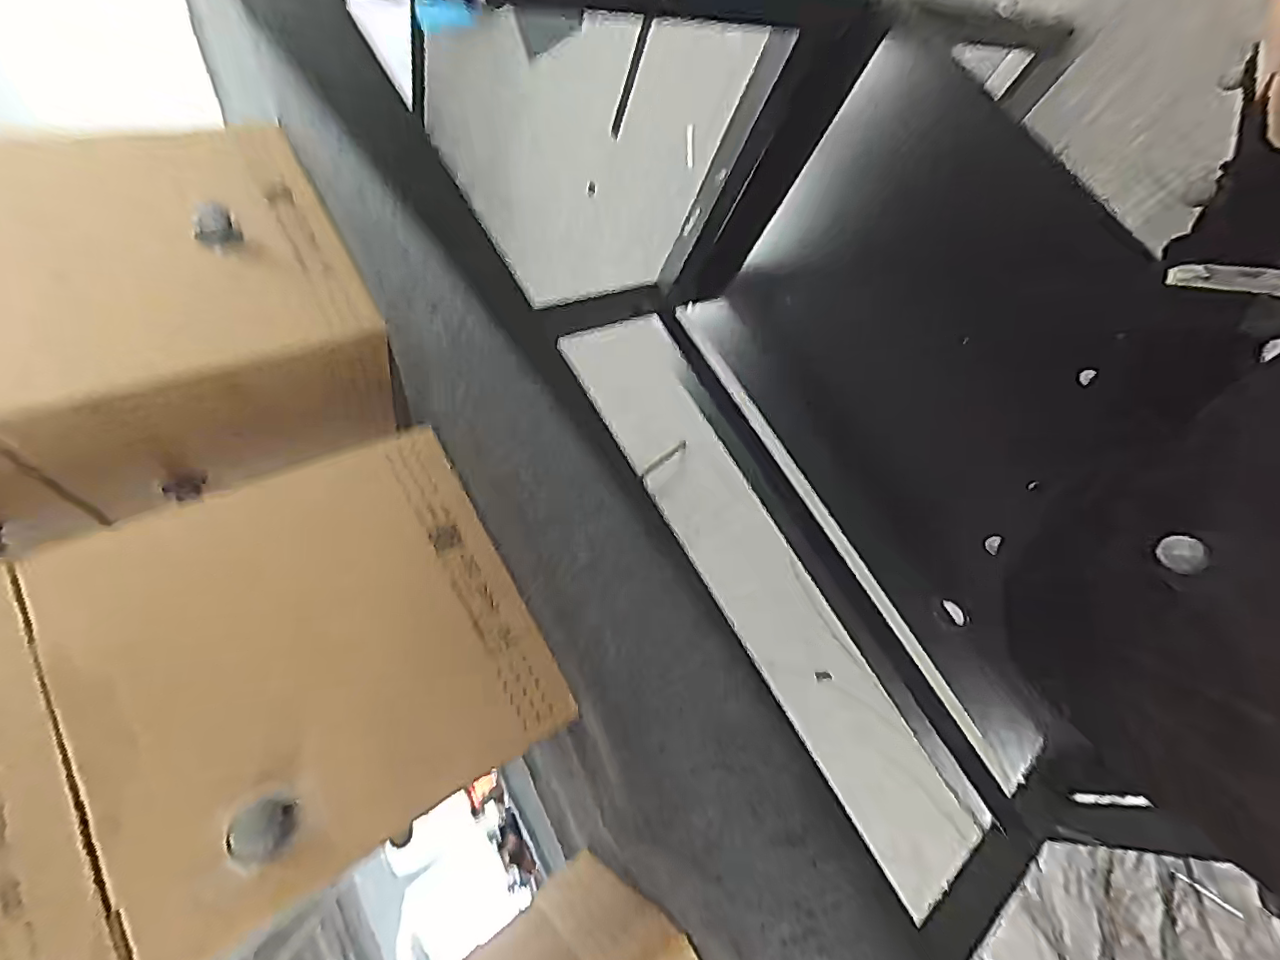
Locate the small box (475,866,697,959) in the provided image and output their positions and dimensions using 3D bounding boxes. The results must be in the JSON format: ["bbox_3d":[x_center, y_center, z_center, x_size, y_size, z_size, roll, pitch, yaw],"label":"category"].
[{"bbox_3d":[-0.031,0.327,0.253,0.168,0.176,0.179,60,151,12],"label":"small box"}]

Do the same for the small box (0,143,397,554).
[{"bbox_3d":[-0.272,-0.080,0.349,0.168,0.176,0.179,58,150,12],"label":"small box"}]

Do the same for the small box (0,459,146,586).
[{"bbox_3d":[-0.404,-0.021,0.271,0.168,0.176,0.179,60,150,12],"label":"small box"}]
